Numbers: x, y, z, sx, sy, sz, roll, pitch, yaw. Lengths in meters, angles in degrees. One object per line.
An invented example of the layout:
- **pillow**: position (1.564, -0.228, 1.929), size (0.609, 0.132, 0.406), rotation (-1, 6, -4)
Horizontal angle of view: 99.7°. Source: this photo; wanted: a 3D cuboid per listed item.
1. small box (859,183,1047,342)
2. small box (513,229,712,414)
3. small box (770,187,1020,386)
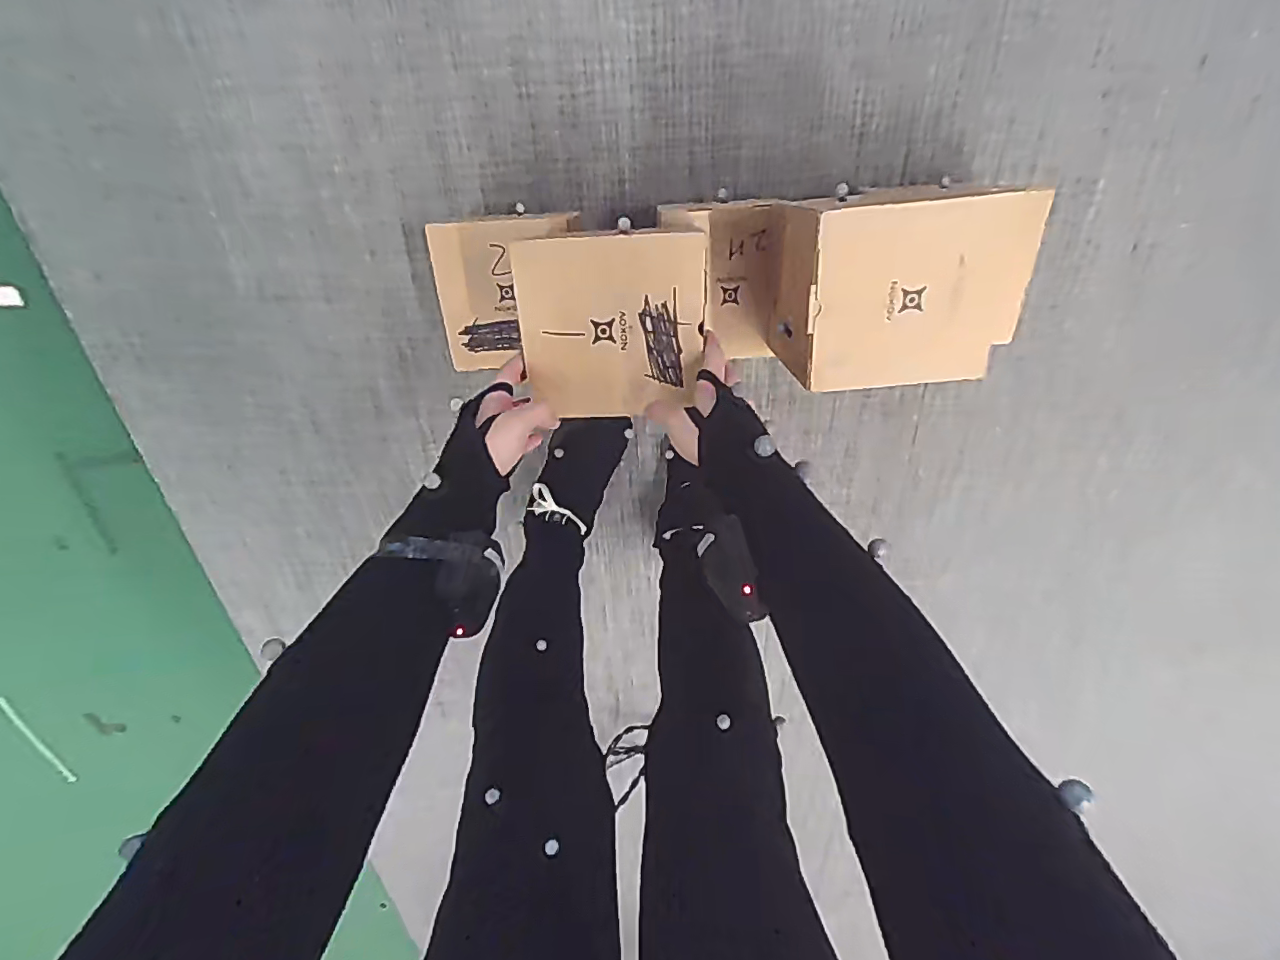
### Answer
- **small box**: position (0.376, -0.287, 0.711), size (0.168, 0.176, 0.179), rotation (-3, 119, 2)
- **small box**: position (-0.019, -0.174, 0.572), size (0.179, 0.176, 0.168), rotation (0, 114, 4)
- **small box**: position (0.241, -0.208, 0.567), size (0.179, 0.176, 0.168), rotation (-5, 119, 1)
